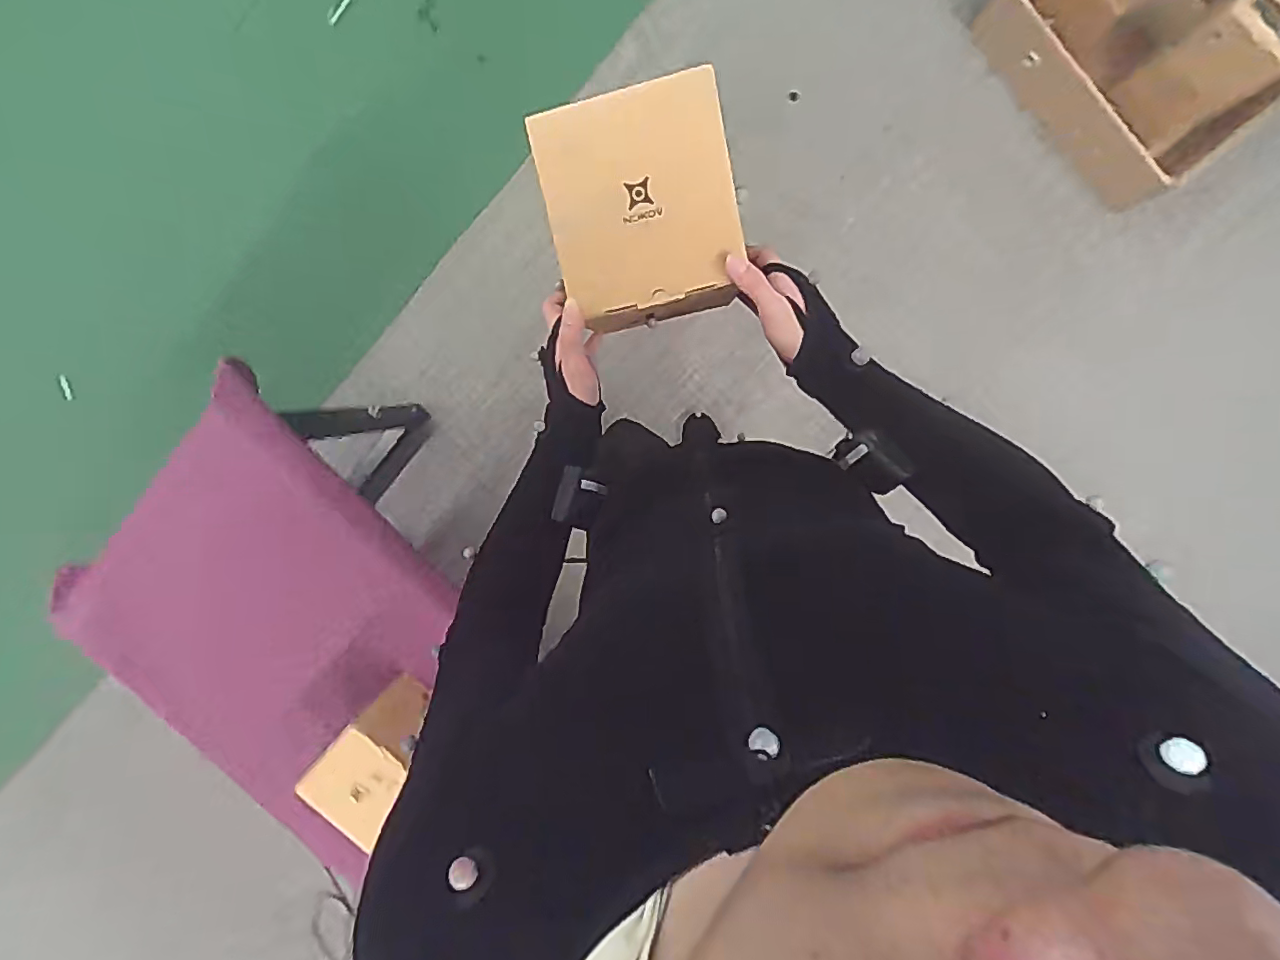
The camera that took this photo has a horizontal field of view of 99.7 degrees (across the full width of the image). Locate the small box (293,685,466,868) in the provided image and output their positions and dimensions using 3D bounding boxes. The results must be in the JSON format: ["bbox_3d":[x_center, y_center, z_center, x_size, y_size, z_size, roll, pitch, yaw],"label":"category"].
[{"bbox_3d":[-0.434,0.498,0.930,0.168,0.176,0.179,42,100,-2],"label":"small box"}]

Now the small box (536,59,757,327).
[{"bbox_3d":[0.010,-0.262,0.541,0.168,0.176,0.179,-11,101,5],"label":"small box"}]
